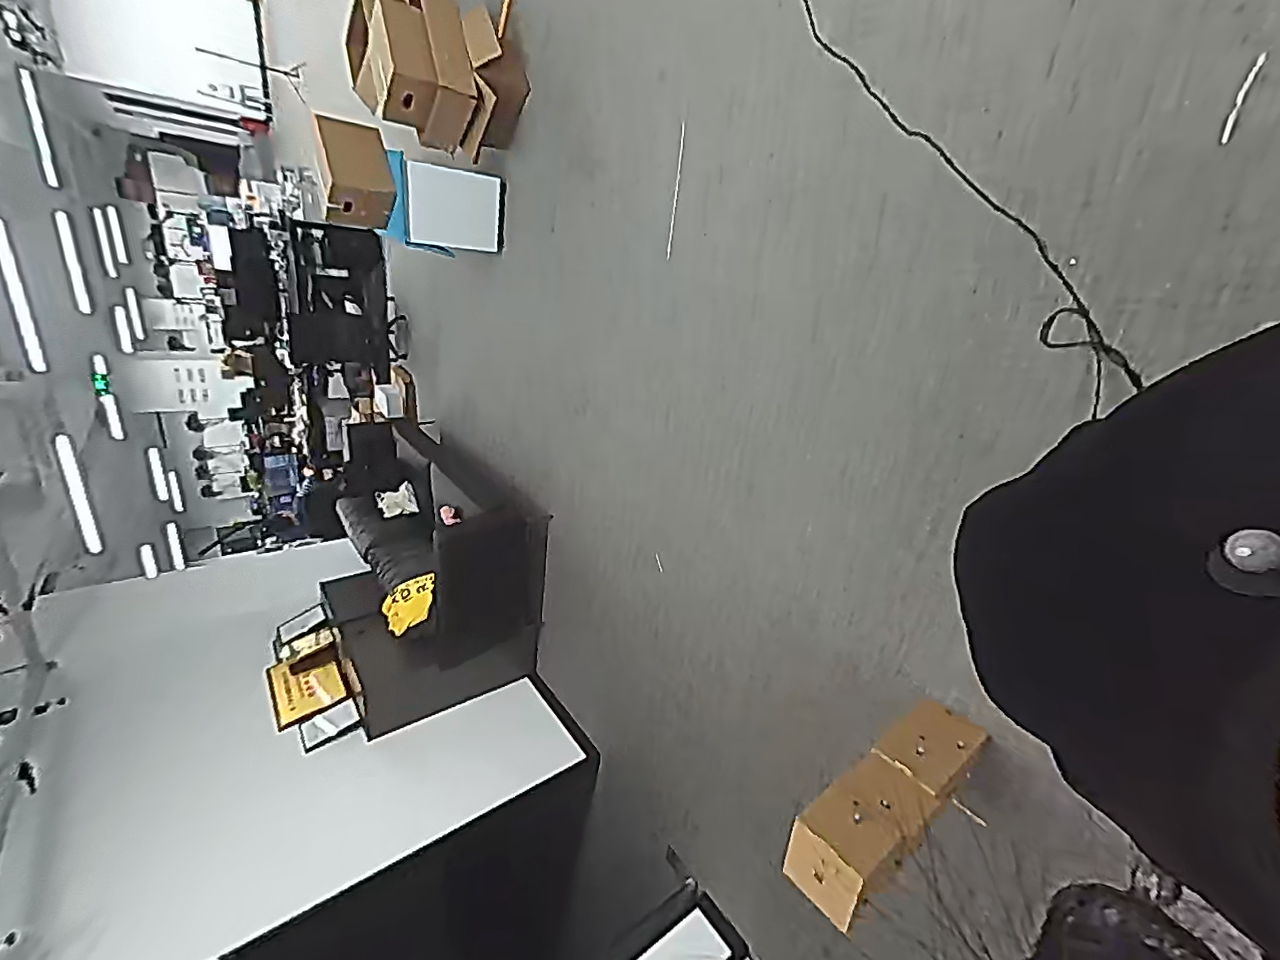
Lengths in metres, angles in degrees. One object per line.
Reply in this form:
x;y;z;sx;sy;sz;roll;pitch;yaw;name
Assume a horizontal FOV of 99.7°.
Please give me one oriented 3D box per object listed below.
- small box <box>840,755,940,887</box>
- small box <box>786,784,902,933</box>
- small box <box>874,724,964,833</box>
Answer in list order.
0.586;0.810;1.304;0.179;0.176;0.168;30;122;46;small box
0.455;0.834;1.206;0.168;0.176;0.179;28;120;46;small box
0.710;0.776;1.406;0.168;0.176;0.179;29;120;46;small box
